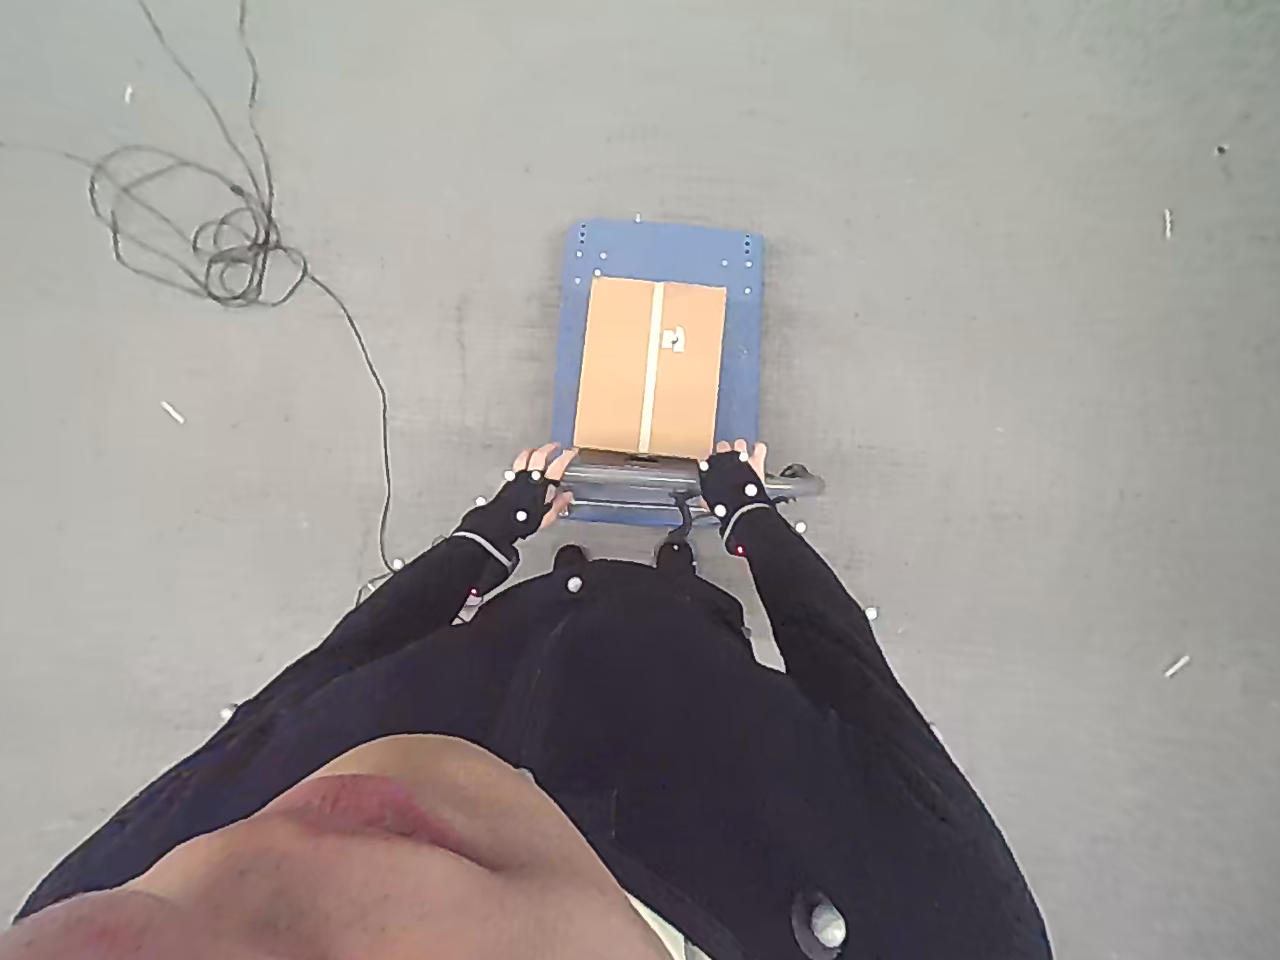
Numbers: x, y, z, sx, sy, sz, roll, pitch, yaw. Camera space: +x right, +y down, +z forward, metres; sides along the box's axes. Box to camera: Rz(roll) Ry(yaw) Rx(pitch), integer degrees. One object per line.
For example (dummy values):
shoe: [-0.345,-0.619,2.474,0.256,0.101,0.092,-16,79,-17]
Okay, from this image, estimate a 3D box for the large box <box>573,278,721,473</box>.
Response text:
large box: [0.019,-0.242,1.375,0.320,0.320,0.408,6,84,-1]
